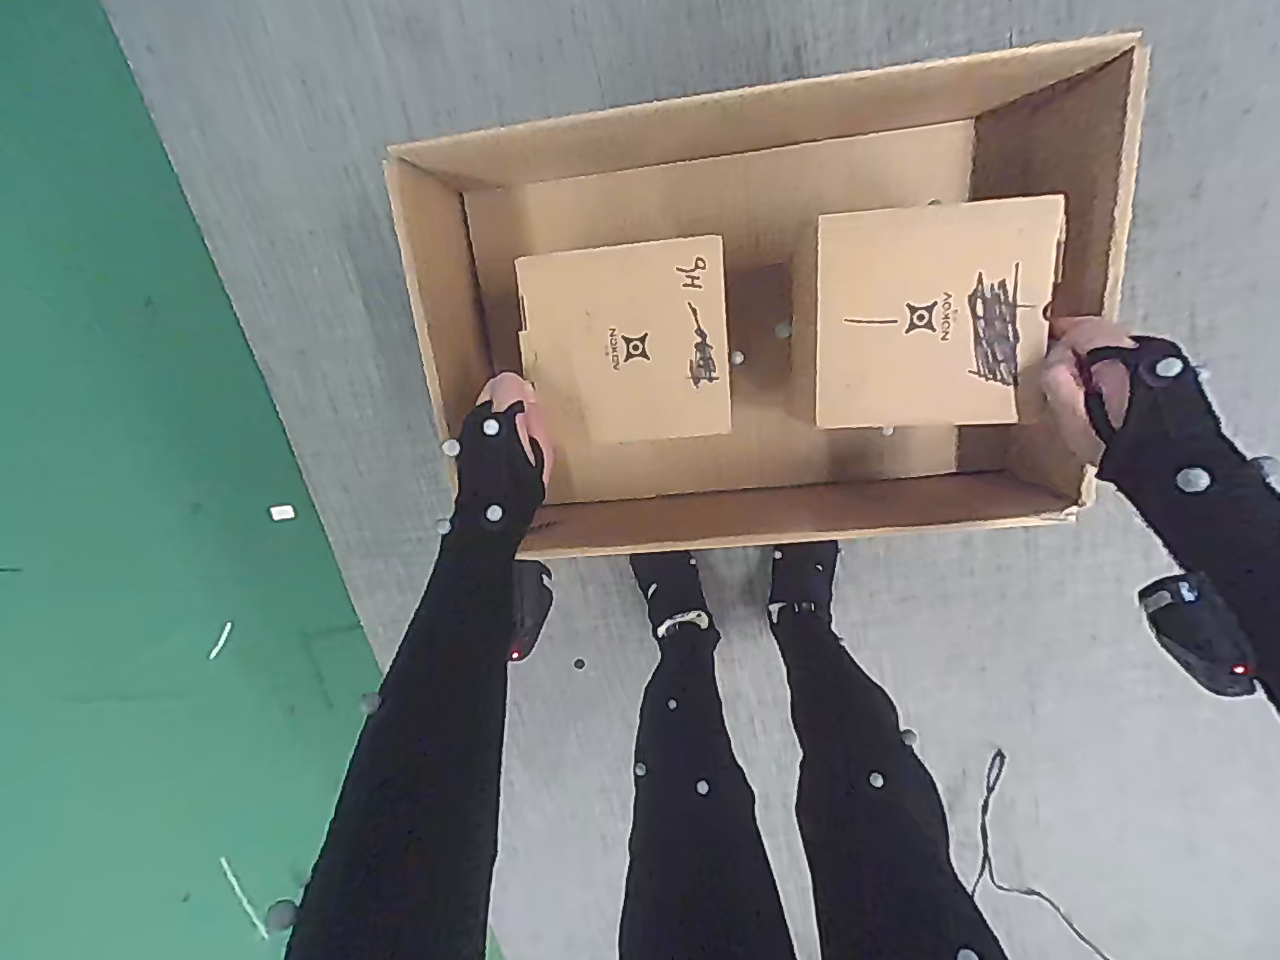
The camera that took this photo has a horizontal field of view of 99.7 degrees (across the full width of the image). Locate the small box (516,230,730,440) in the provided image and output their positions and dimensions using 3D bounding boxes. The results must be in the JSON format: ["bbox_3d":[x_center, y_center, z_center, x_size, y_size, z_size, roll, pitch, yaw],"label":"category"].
[{"bbox_3d":[-0.004,-0.134,0.532,0.179,0.176,0.168,-3,103,7],"label":"small box"}]
